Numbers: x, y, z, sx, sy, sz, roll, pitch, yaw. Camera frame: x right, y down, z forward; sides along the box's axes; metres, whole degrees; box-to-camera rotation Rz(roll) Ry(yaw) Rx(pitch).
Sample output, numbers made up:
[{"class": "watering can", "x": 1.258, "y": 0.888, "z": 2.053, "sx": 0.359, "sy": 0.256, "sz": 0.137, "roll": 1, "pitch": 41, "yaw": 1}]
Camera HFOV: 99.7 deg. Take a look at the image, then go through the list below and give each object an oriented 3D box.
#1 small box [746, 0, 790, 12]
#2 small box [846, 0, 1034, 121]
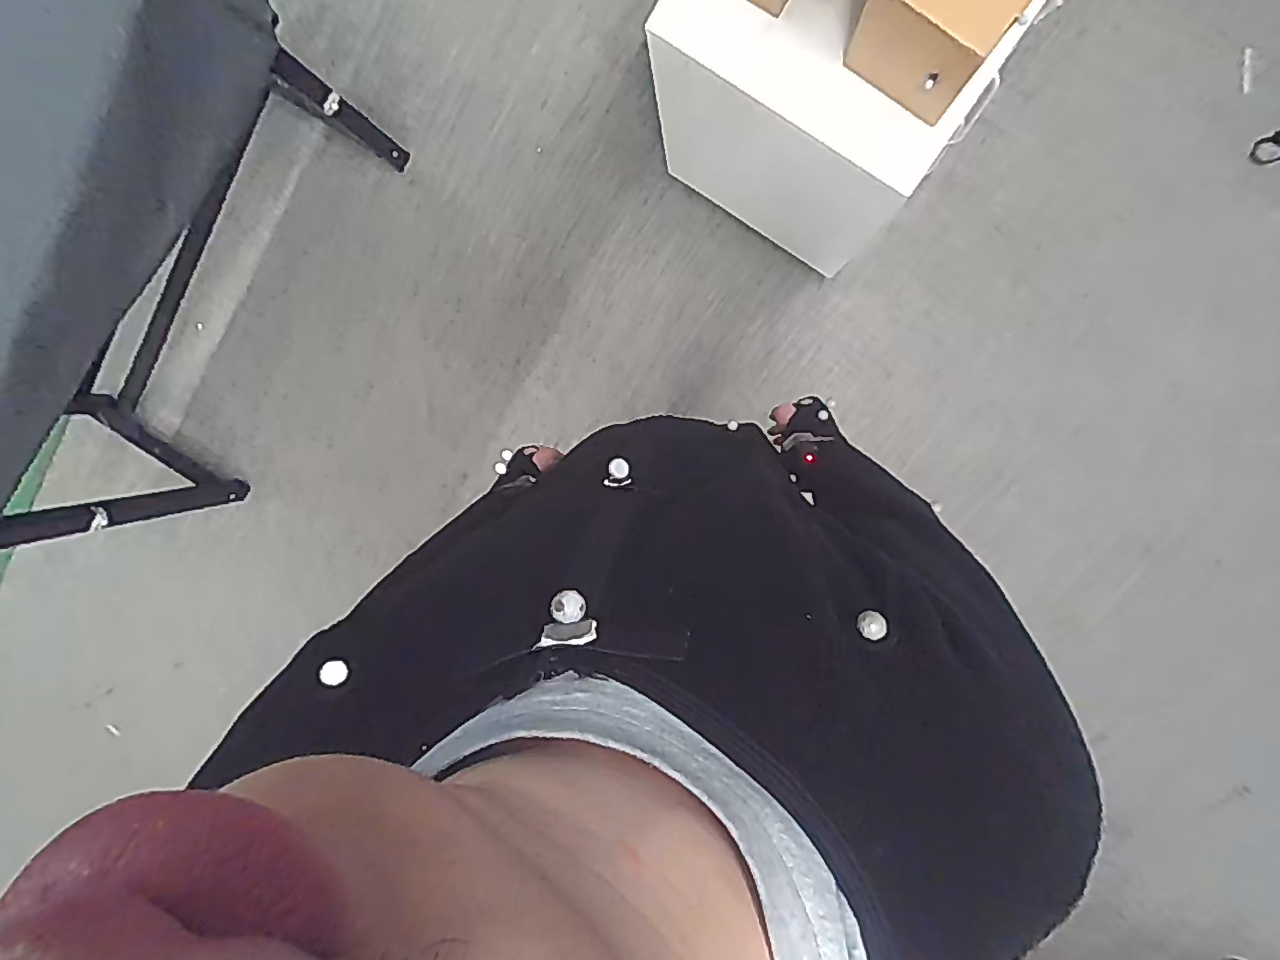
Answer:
[{"class": "small box", "x": 0.176, "y": -0.815, "z": 0.748, "sx": 0.179, "sy": 0.176, "sz": 0.168, "roll": 32, "pitch": 100, "yaw": 0}, {"class": "small box", "x": 0.418, "y": -0.641, "z": 0.743, "sx": 0.179, "sy": 0.176, "sz": 0.168, "roll": 36, "pitch": 99, "yaw": 3}]
